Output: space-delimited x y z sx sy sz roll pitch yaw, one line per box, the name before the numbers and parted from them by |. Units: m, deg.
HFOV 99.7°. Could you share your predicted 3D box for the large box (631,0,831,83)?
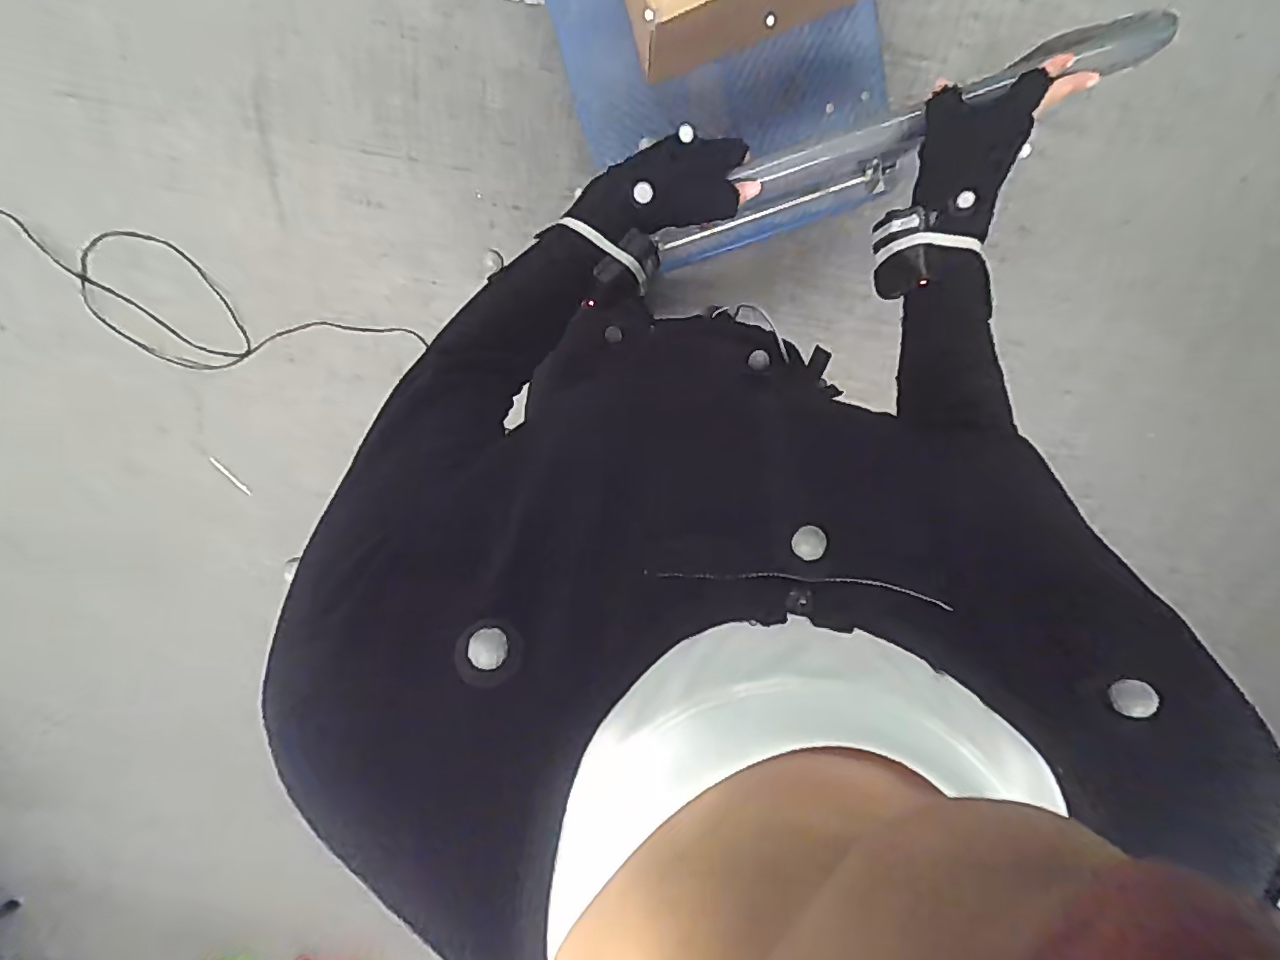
large box | 0.161 -0.905 0.832 0.408 0.320 0.320 -19 111 10
